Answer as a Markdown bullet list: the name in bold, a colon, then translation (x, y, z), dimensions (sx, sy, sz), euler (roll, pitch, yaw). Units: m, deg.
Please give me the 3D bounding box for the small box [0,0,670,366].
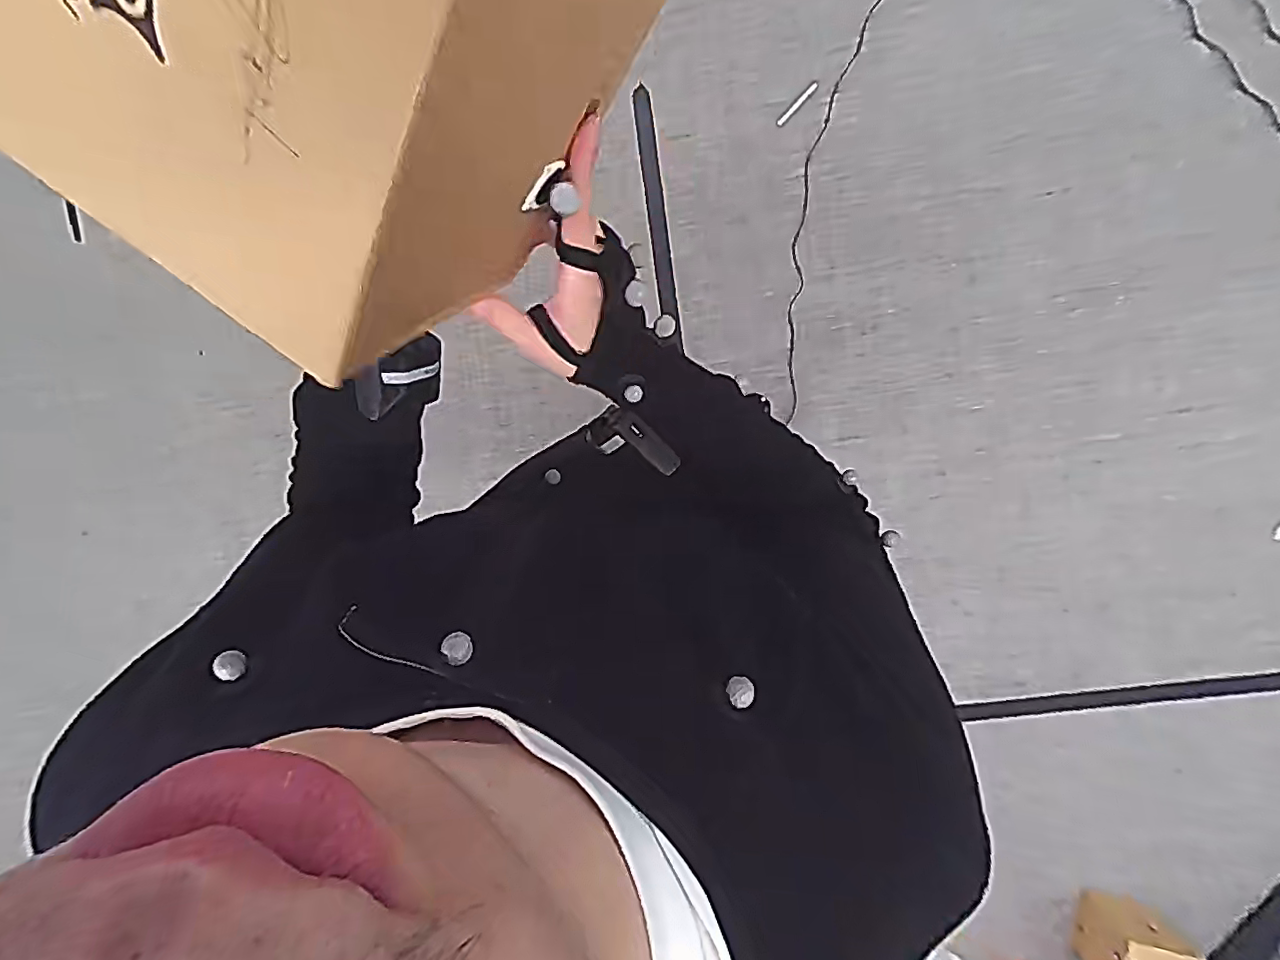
- **small box**: translation (-0.113, -0.185, 0.220), dimensions (0.179, 0.176, 0.168), euler (35, 129, -8)
